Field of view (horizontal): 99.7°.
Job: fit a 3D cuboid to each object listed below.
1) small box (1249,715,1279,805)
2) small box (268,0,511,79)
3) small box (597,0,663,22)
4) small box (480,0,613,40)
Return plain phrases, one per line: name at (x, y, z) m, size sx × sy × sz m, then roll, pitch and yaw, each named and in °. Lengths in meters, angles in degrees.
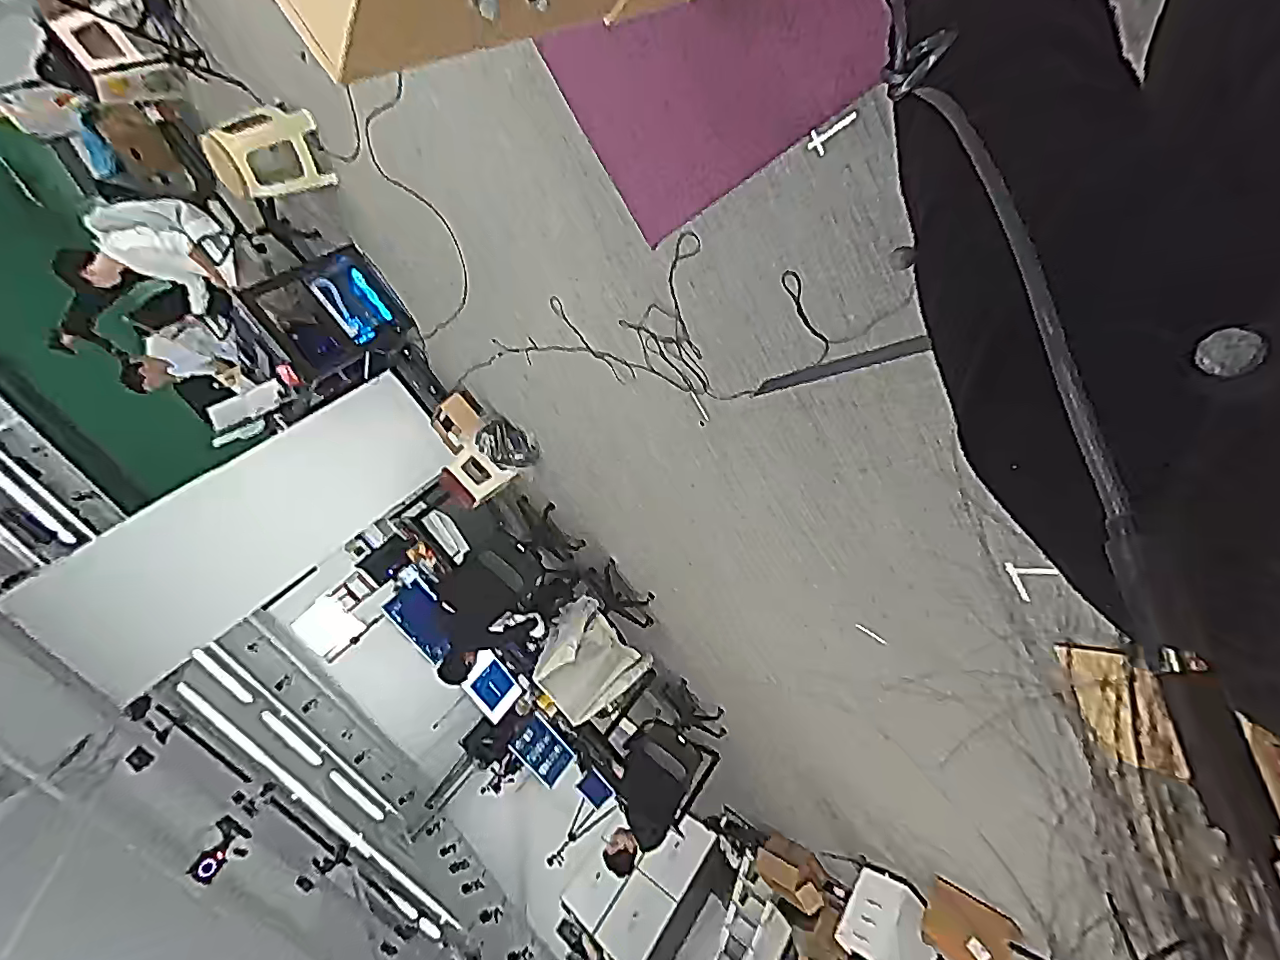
small box at (1.809, 0.785, 1.487) m, size 0.168 × 0.176 × 0.179 m, roll -4°, pitch 125°, yaw 53°
small box at (-0.189, -0.432, 0.374) m, size 0.168 × 0.176 × 0.179 m, roll -6°, pitch 122°, yaw 53°
small box at (0.013, -0.627, 0.547) m, size 0.168 × 0.176 × 0.179 m, roll -7°, pitch 122°, yaw 53°
small box at (-0.091, -0.533, 0.461) m, size 0.168 × 0.176 × 0.179 m, roll -7°, pitch 121°, yaw 53°
